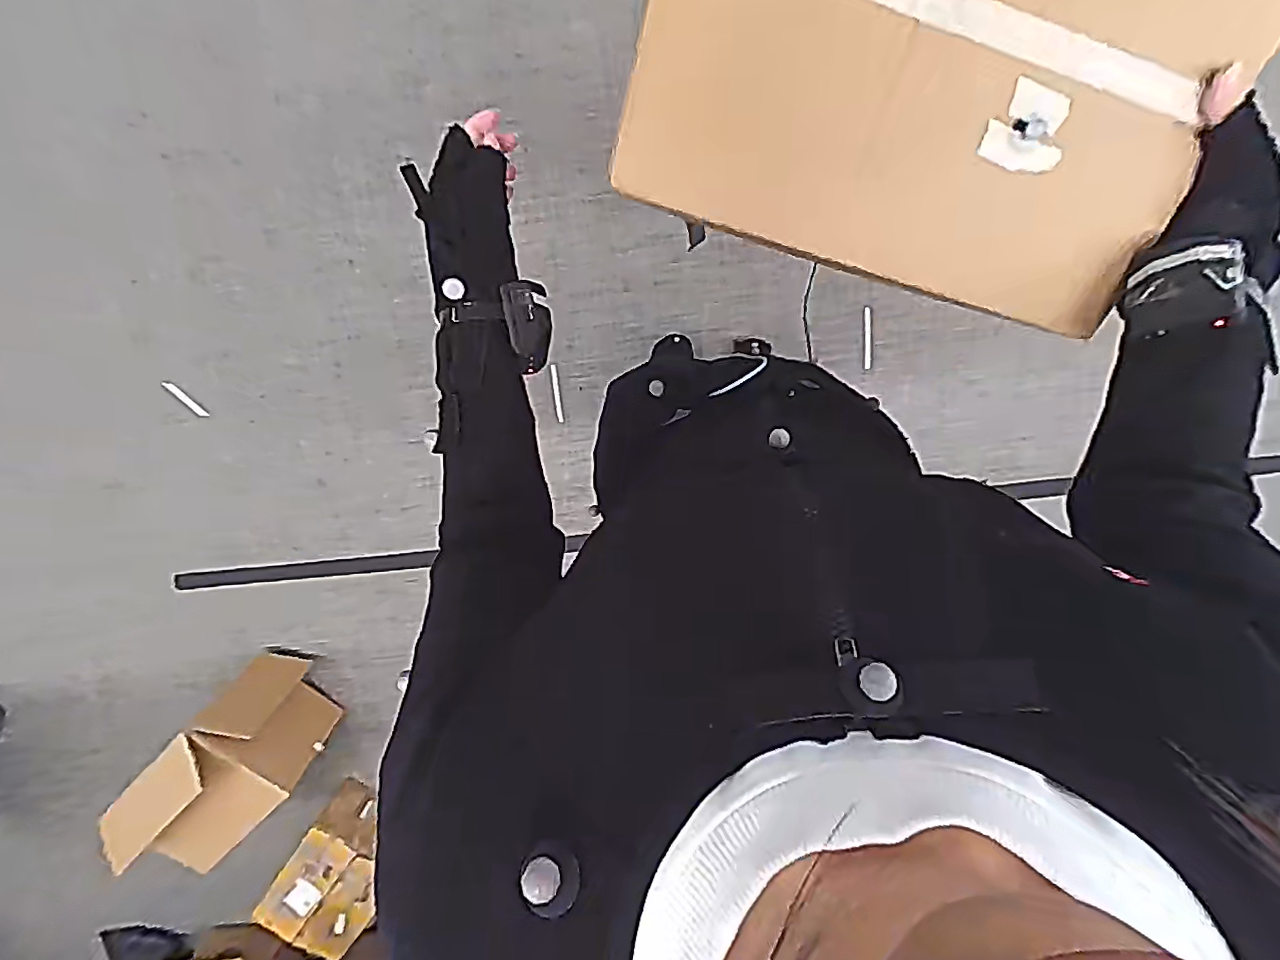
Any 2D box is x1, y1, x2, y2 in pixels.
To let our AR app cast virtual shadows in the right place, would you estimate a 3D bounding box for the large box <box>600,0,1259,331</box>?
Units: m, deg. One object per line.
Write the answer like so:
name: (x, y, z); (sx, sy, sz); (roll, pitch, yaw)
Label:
large box: (0.187, -0.360, 0.490); (0.408, 0.320, 0.320); (12, 117, -9)
